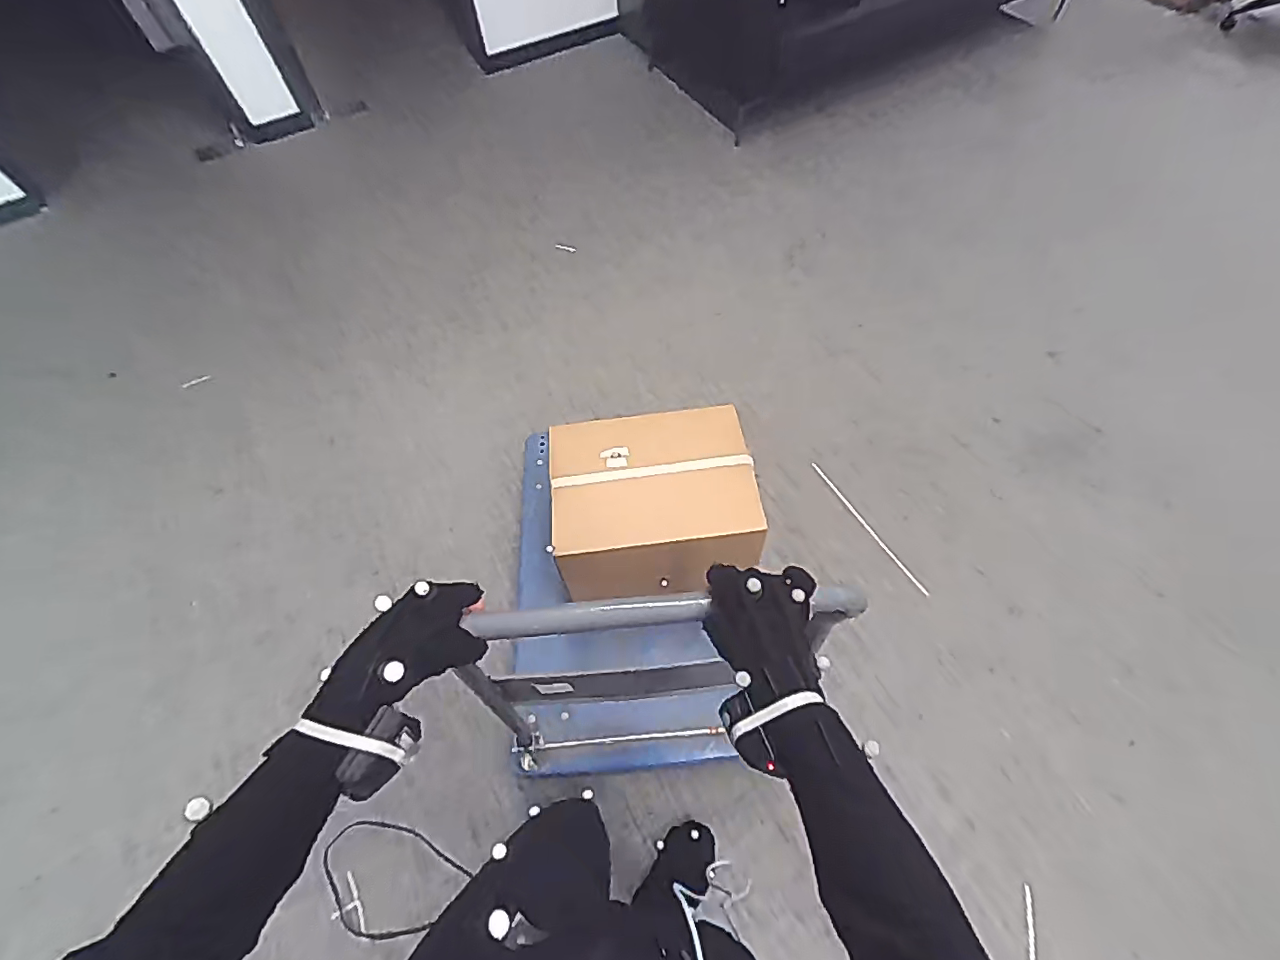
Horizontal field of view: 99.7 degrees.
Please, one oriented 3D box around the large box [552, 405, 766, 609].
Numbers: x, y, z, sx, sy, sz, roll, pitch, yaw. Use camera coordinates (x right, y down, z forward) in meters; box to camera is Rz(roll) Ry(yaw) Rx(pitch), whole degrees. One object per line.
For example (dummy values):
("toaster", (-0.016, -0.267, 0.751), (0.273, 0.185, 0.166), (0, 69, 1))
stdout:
("large box", (0.037, 0.071, 1.222), (0.408, 0.320, 0.320), (-9, 56, 0))
